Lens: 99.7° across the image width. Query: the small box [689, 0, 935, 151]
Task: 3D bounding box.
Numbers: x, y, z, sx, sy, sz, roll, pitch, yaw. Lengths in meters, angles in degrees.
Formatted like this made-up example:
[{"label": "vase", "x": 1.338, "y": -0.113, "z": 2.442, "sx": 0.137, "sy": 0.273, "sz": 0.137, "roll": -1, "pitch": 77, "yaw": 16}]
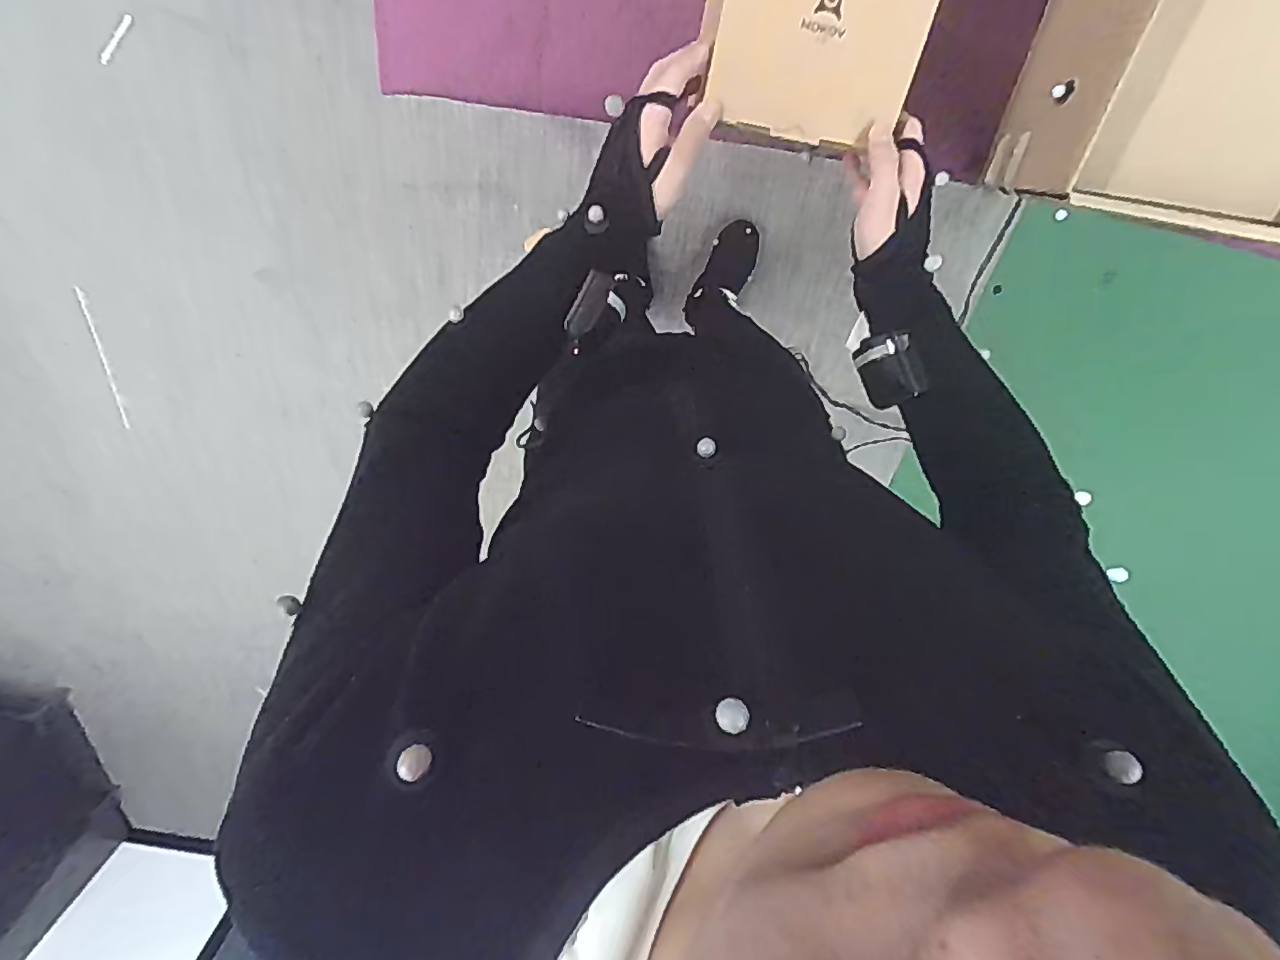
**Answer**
[{"label": "small box", "x": 0.142, "y": -0.409, "z": 0.479, "sx": 0.168, "sy": 0.176, "sz": 0.179, "roll": 8, "pitch": 121, "yaw": -6}]
